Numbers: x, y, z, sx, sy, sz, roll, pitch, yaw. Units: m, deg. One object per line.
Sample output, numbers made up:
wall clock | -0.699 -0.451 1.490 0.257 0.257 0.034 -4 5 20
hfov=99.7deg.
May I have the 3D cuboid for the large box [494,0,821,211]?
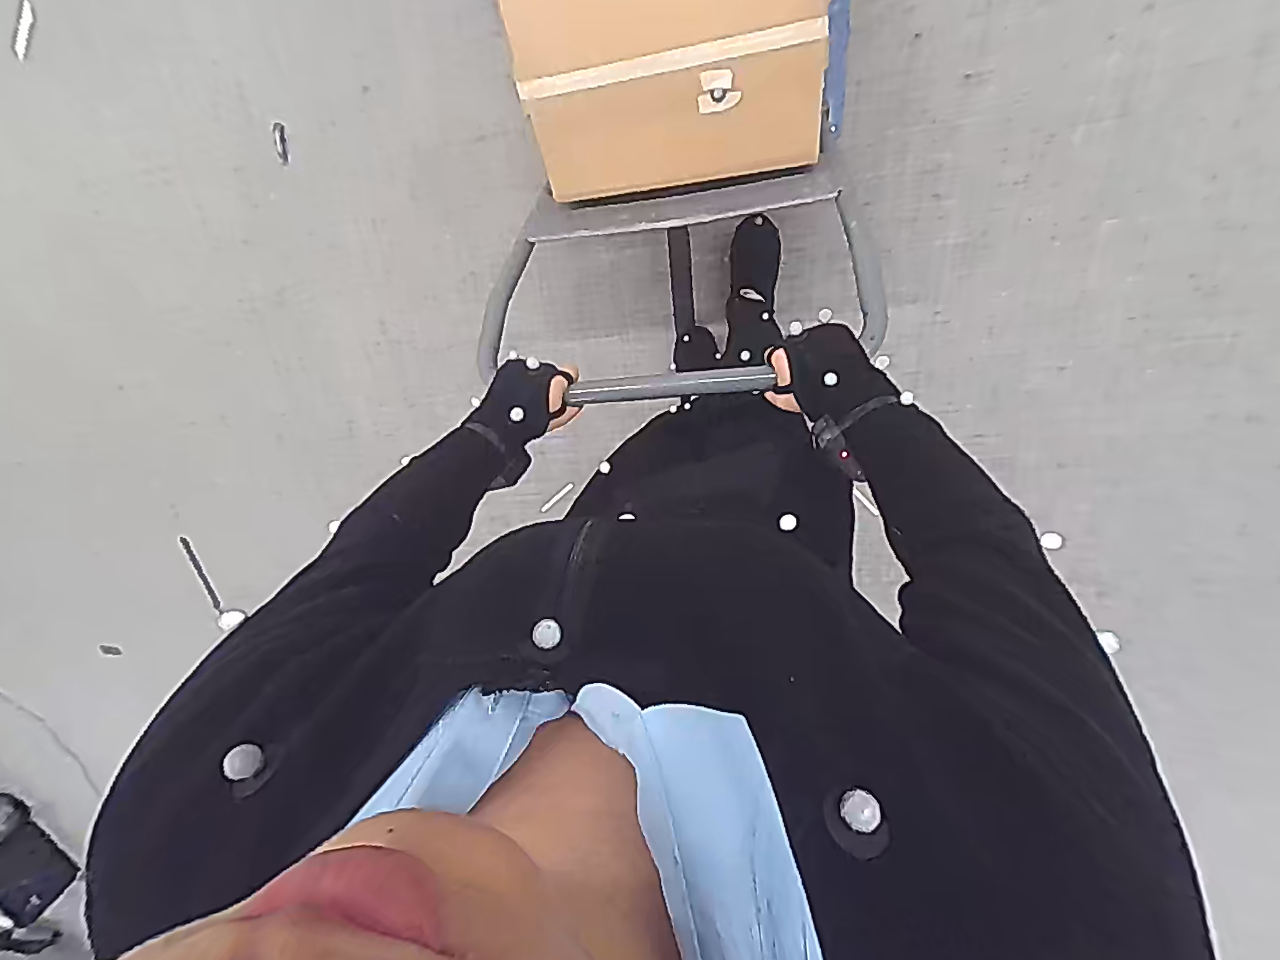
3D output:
large box | 0.043 -0.651 0.812 0.408 0.320 0.320 -3 137 12
